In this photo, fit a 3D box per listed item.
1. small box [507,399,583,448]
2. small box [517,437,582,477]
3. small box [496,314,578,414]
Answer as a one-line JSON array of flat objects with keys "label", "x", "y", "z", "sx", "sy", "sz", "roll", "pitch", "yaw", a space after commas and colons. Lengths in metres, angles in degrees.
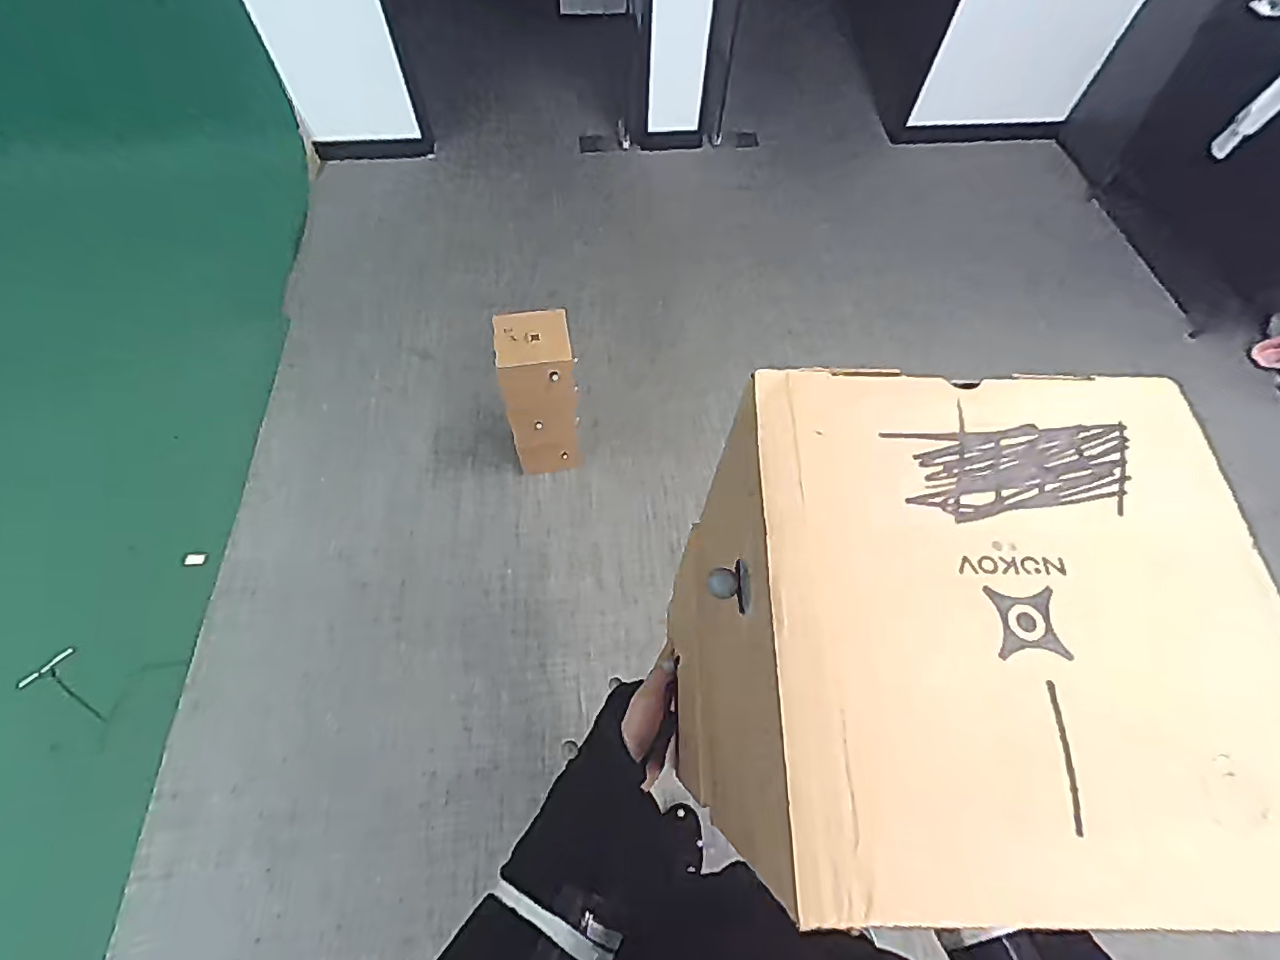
[{"label": "small box", "x": -0.260, "y": -0.203, "z": 1.477, "sx": 0.179, "sy": 0.176, "sz": 0.168, "roll": -10, "pitch": 62, "yaw": -6}, {"label": "small box", "x": -0.270, "y": -0.128, "z": 1.623, "sx": 0.179, "sy": 0.176, "sz": 0.168, "roll": -9, "pitch": 61, "yaw": -5}, {"label": "small box", "x": -0.248, "y": -0.282, "z": 1.332, "sx": 0.179, "sy": 0.176, "sz": 0.168, "roll": -9, "pitch": 61, "yaw": -6}]
